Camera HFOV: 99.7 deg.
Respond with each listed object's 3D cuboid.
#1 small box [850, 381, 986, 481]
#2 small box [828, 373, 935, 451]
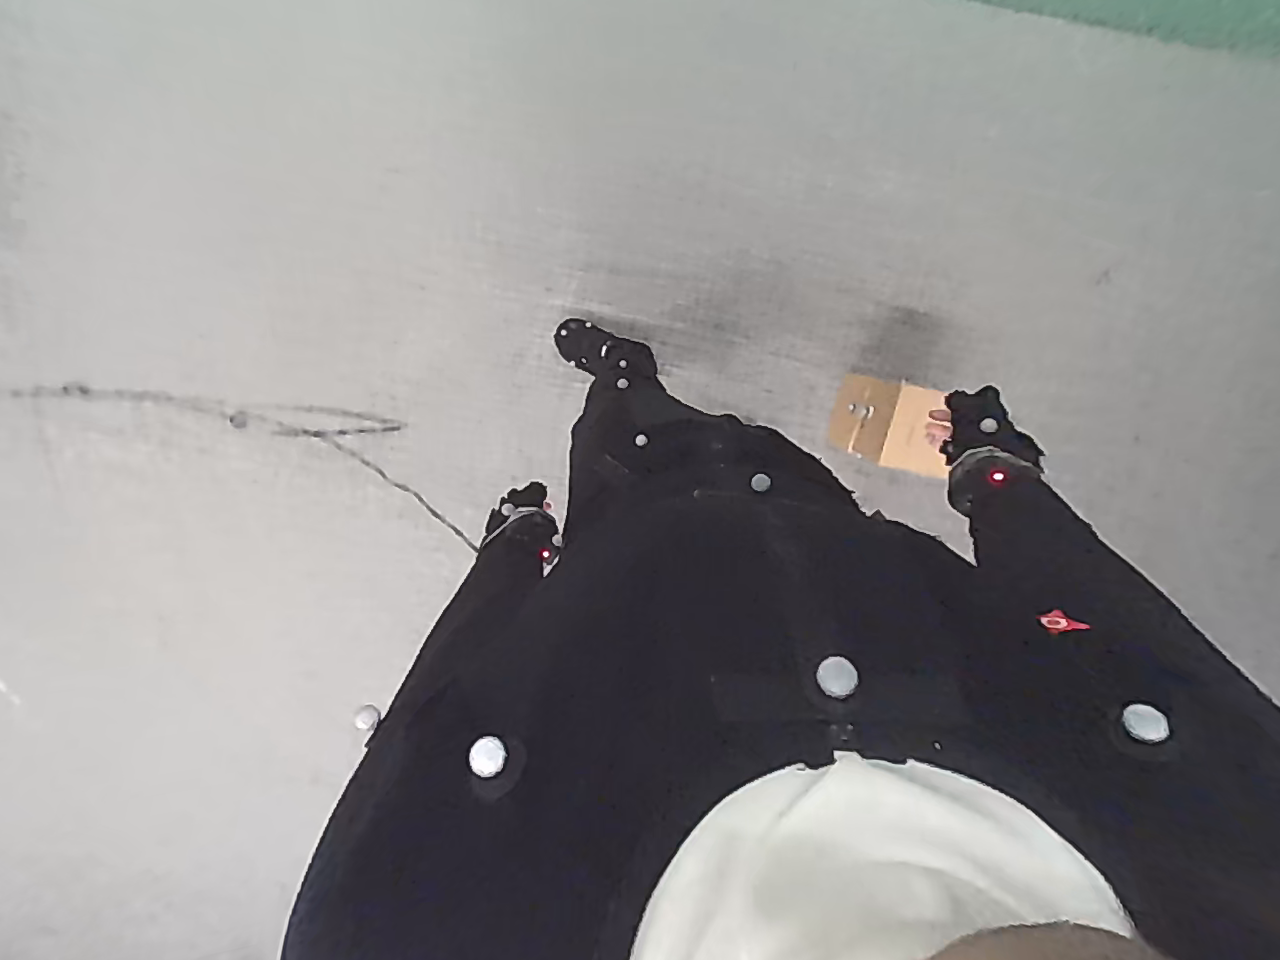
[{"bbox_3d":[0.572,-0.110,1.136,0.179,0.176,0.168,13,103,1],"label":"small box"},{"bbox_3d":[0.571,-0.152,1.293,0.168,0.176,0.179,14,105,-1],"label":"small box"}]
